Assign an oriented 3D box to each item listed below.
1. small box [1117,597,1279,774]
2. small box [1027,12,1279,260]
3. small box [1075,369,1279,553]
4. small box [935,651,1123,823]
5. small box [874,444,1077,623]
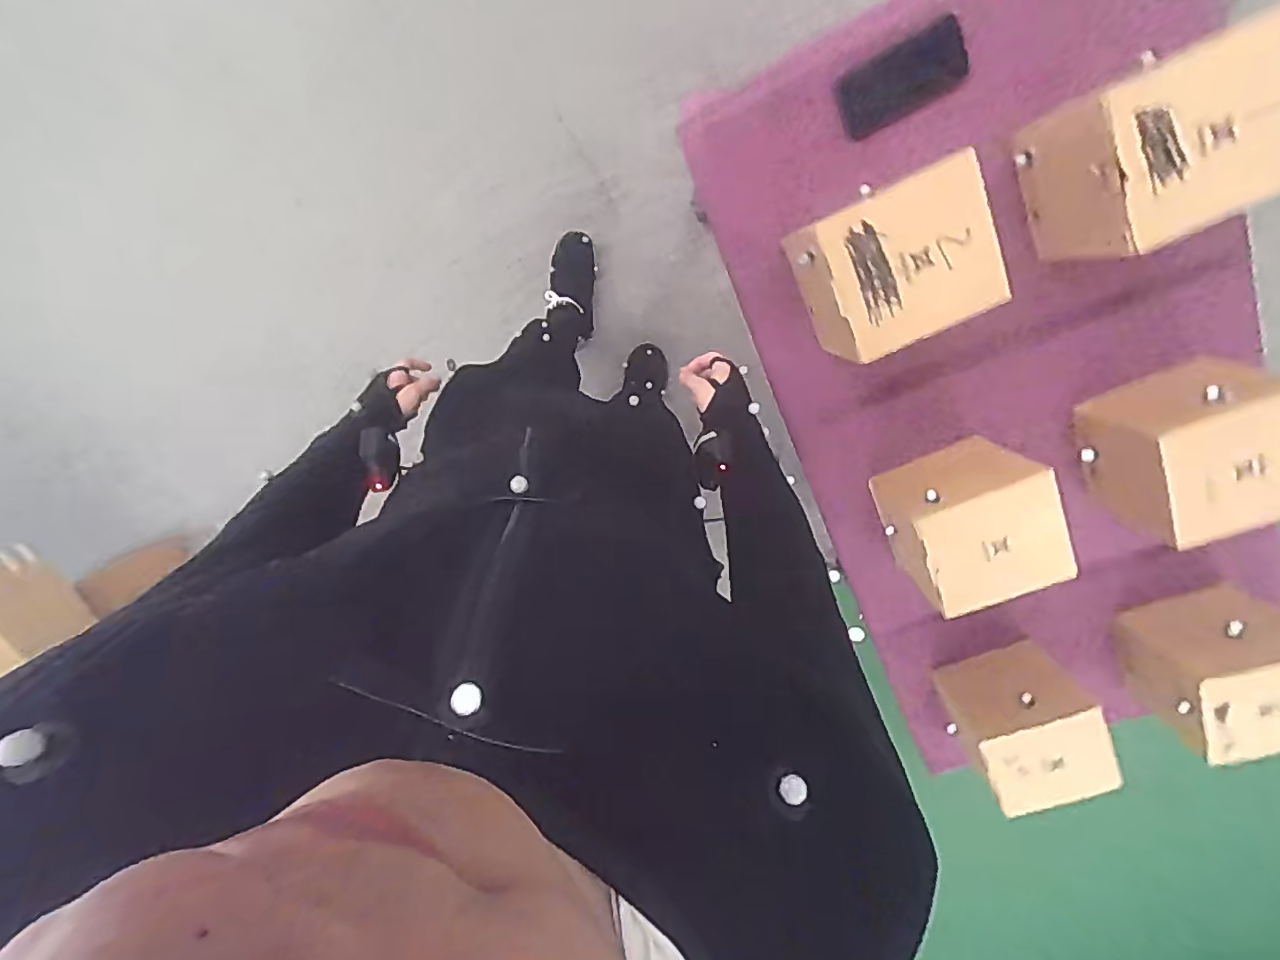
[{"bbox_3d":[0.897,0.305,0.831,0.179,0.176,0.168,-21,106,11],"label":"small box"},{"bbox_3d":[0.576,-0.364,0.609,0.179,0.176,0.168,-23,107,12],"label":"small box"},{"bbox_3d":[0.738,-0.034,0.721,0.179,0.176,0.168,-21,106,13],"label":"small box"},{"bbox_3d":[0.625,0.411,0.887,0.179,0.176,0.168,-23,105,13],"label":"small box"},{"bbox_3d":[0.470,0.068,0.778,0.179,0.176,0.168,-23,107,12],"label":"small box"}]
